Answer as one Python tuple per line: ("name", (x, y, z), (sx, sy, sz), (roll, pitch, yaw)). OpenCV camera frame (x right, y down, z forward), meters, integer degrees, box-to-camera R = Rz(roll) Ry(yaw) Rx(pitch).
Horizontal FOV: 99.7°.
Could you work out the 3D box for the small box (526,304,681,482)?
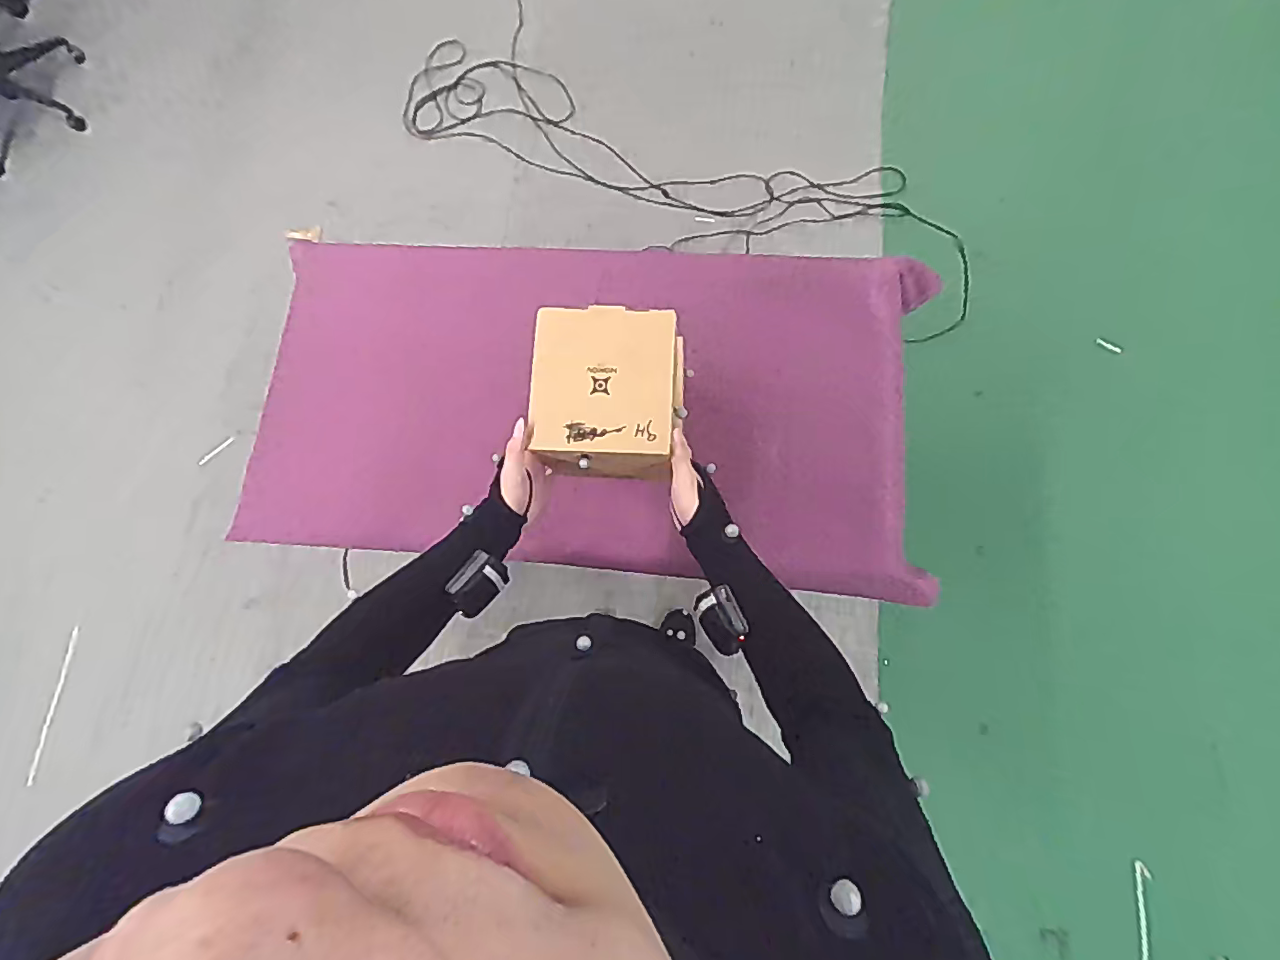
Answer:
("small box", (-0.036, -0.101, 0.688), (0.168, 0.176, 0.179), (3, 80, 4))
